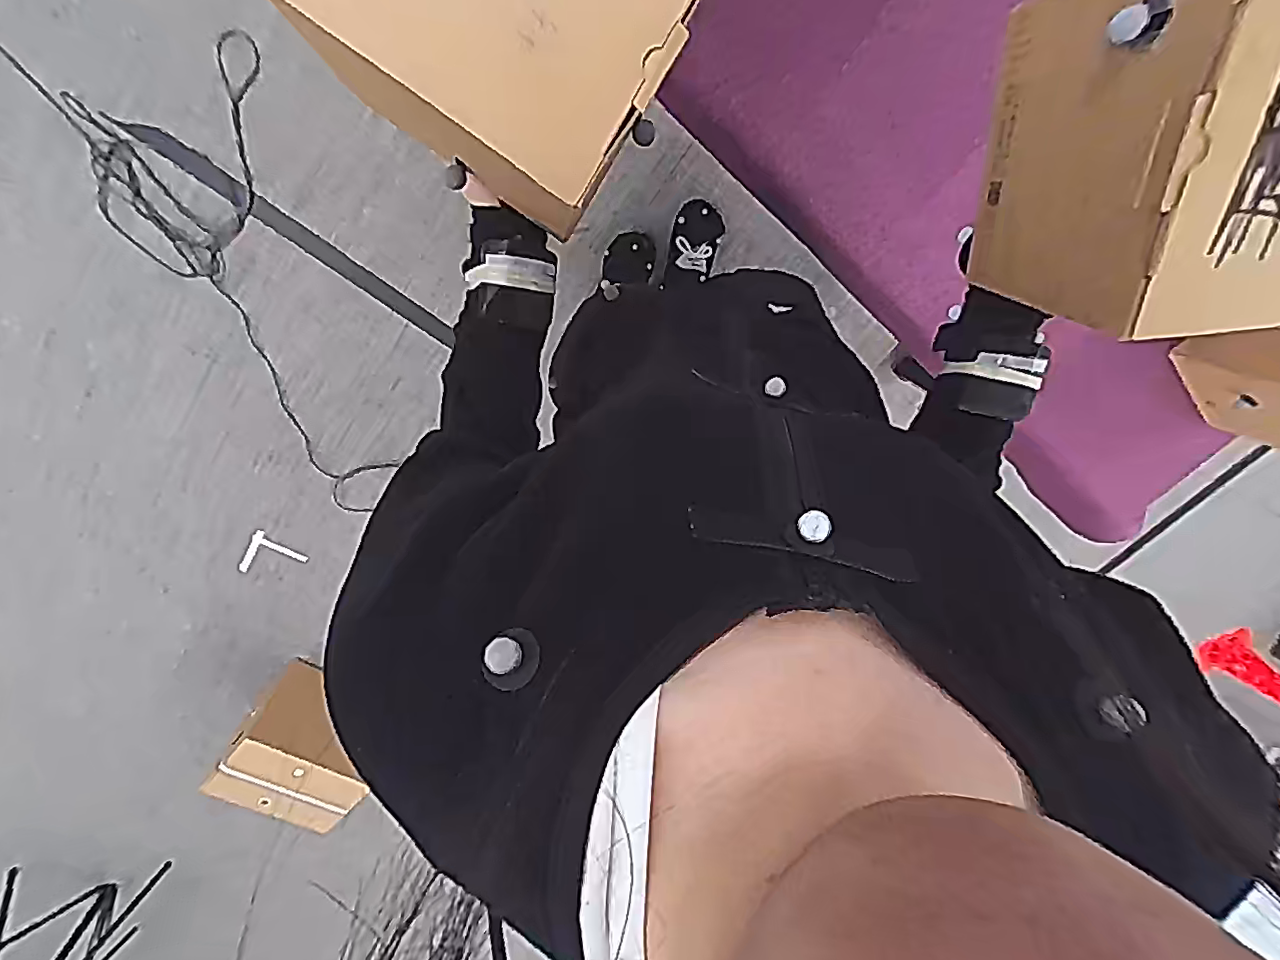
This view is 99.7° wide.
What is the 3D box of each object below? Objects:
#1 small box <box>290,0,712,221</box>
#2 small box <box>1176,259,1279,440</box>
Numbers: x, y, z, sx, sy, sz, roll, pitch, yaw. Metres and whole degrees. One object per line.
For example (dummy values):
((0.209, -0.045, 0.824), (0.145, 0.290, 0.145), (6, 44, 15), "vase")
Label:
((-0.071, -0.282, 0.328), (0.179, 0.176, 0.168), (30, 100, -19), "small box")
((0.861, -0.160, 0.699), (0.168, 0.176, 0.179), (38, 107, -22), "small box")
